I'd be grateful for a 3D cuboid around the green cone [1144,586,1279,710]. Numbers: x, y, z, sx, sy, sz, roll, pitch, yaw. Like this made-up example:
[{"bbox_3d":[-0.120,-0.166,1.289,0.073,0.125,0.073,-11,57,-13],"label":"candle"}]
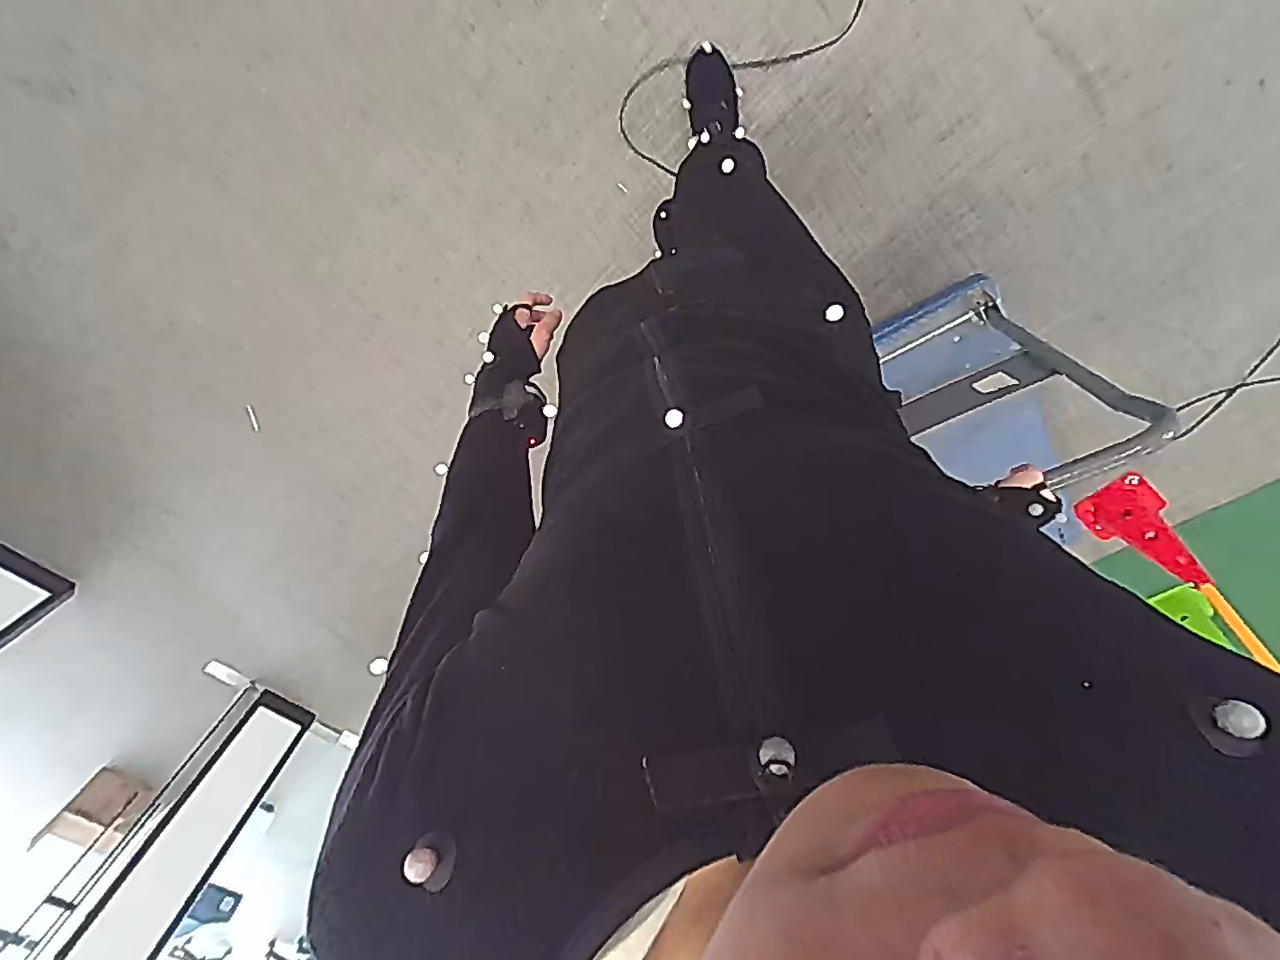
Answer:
[{"bbox_3d":[1.837,0.547,1.693,0.202,0.368,0.200,42,117,-19],"label":"green cone"}]
